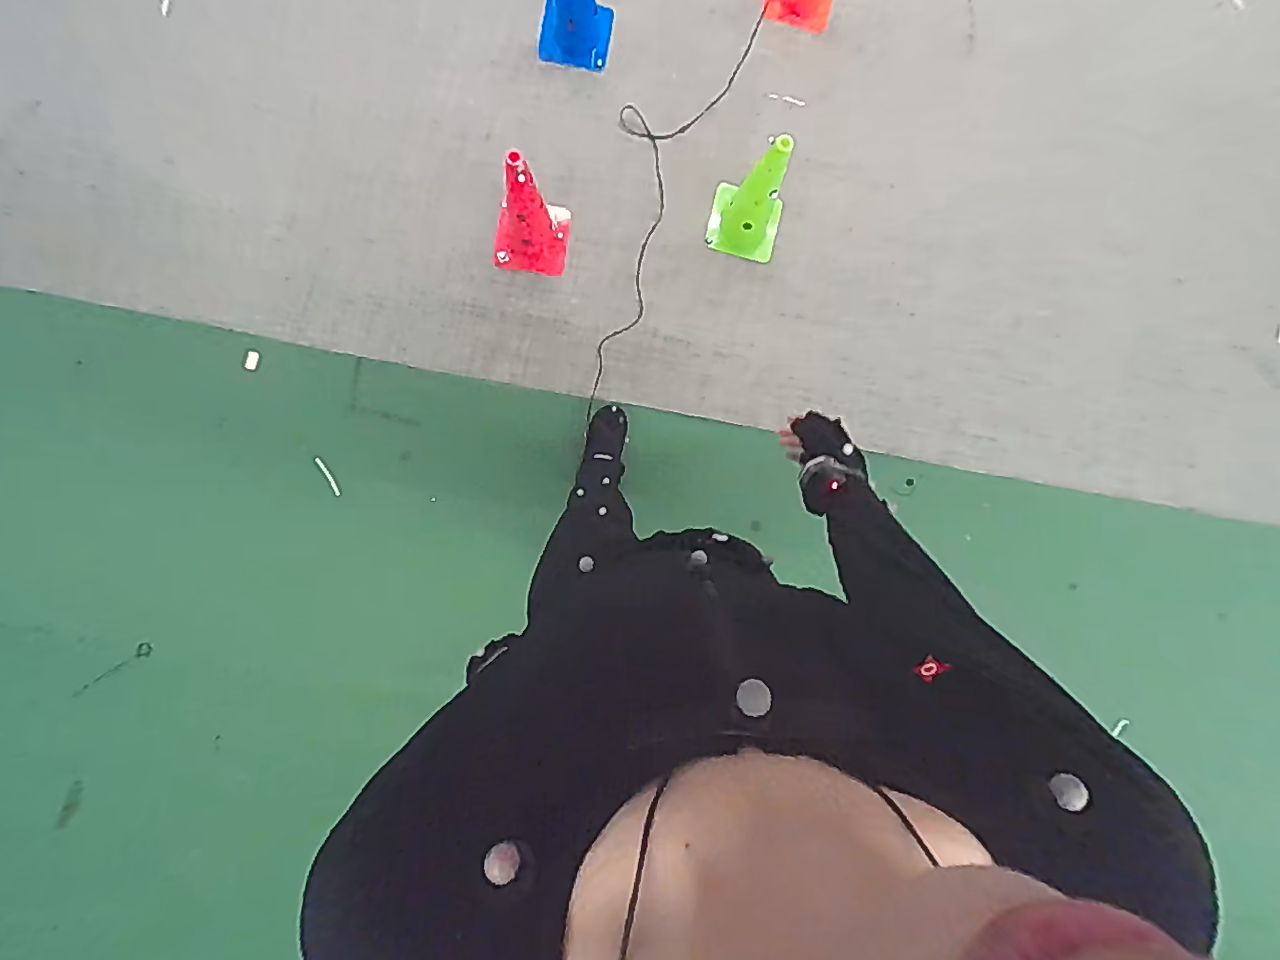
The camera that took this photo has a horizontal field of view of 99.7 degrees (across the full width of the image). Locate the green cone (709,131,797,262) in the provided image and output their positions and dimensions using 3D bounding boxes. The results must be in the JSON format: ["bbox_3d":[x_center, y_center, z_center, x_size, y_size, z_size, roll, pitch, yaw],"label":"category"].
[{"bbox_3d":[0.325,-0.756,1.402,0.200,0.368,0.202,13,85,-4],"label":"green cone"}]

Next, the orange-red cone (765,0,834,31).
[{"bbox_3d":[0.495,-1.465,1.454,0.198,0.360,0.199,15,88,-2],"label":"orange-red cone"}]
